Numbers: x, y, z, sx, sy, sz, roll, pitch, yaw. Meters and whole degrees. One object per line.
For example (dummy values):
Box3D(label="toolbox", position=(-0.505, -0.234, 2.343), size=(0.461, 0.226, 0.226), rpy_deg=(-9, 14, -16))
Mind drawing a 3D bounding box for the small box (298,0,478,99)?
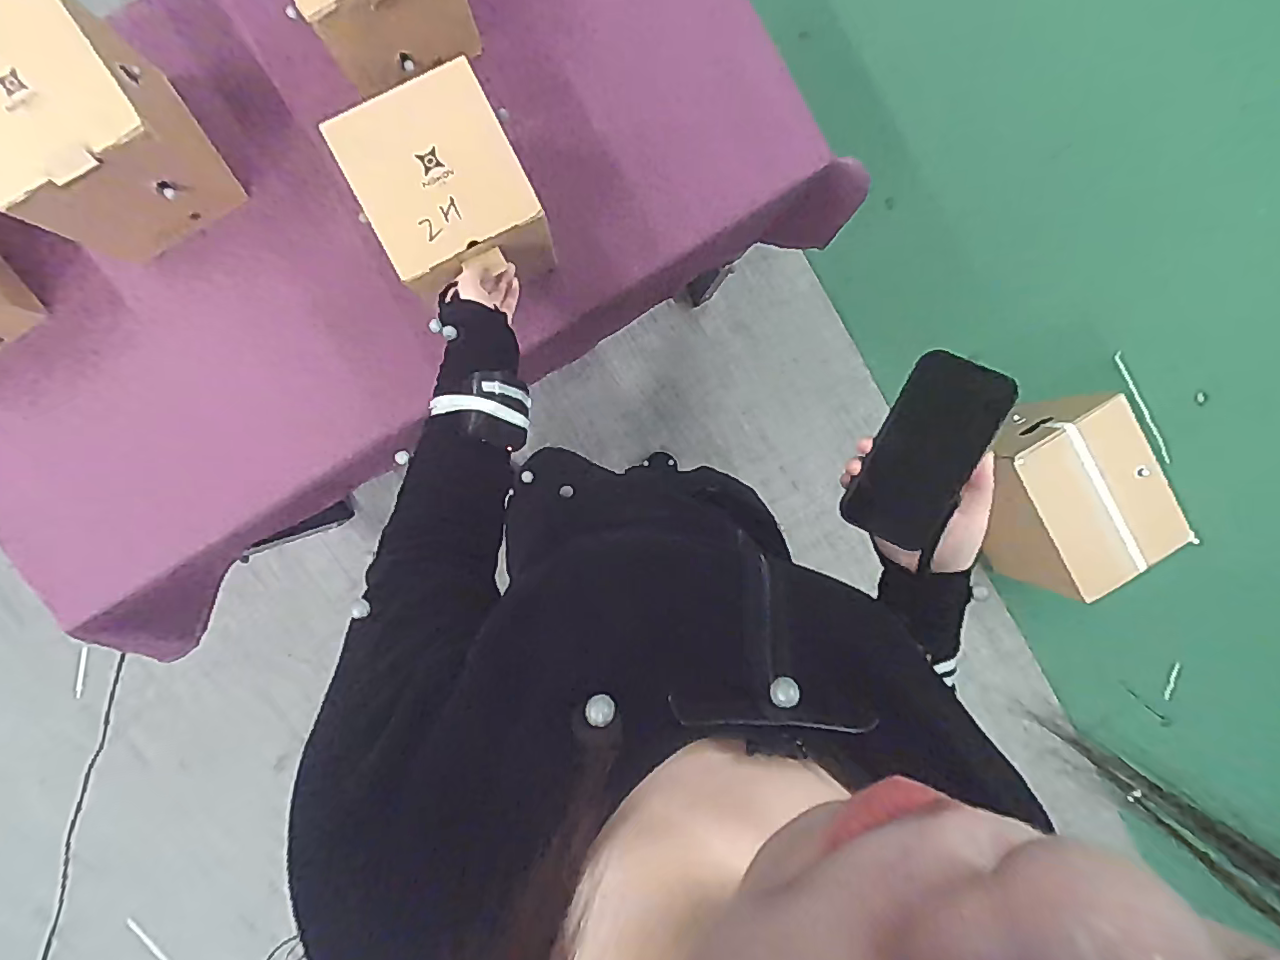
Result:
Box3D(label="small box", position=(-0.312, -0.578, 0.608), size=(0.168, 0.176, 0.179), rpy_deg=(-34, 96, -1))

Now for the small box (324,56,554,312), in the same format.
Box3D(label="small box", position=(-0.215, -0.324, 0.631), size=(0.168, 0.176, 0.179), rpy_deg=(-27, 95, -1))

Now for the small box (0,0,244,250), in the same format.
Box3D(label="small box", position=(-0.602, -0.384, 0.602), size=(0.168, 0.176, 0.179), rpy_deg=(-32, 96, -2))

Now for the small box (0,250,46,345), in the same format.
Box3D(label="small box", position=(-0.848, -0.225, 0.595), size=(0.168, 0.176, 0.179), rpy_deg=(-37, 97, -2))
